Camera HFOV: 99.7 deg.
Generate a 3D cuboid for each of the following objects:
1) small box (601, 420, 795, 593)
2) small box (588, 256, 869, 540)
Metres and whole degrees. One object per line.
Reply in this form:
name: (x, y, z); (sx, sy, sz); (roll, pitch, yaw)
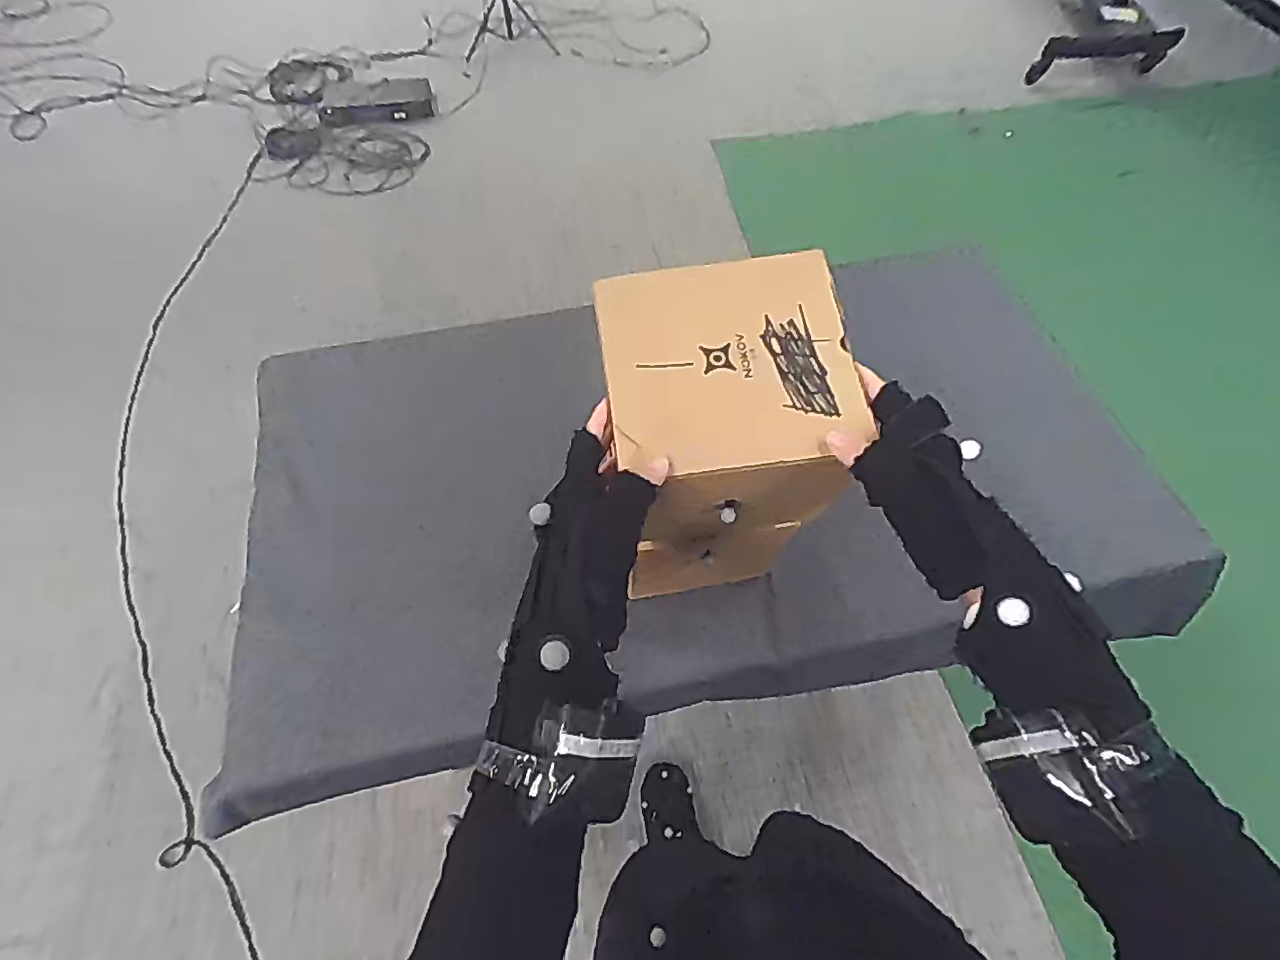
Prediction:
small box: (0.058, 0.023, 0.638); (0.179, 0.176, 0.168); (-10, 63, -5)
small box: (0.058, -0.055, 0.455); (0.179, 0.176, 0.168); (-8, 70, -1)
